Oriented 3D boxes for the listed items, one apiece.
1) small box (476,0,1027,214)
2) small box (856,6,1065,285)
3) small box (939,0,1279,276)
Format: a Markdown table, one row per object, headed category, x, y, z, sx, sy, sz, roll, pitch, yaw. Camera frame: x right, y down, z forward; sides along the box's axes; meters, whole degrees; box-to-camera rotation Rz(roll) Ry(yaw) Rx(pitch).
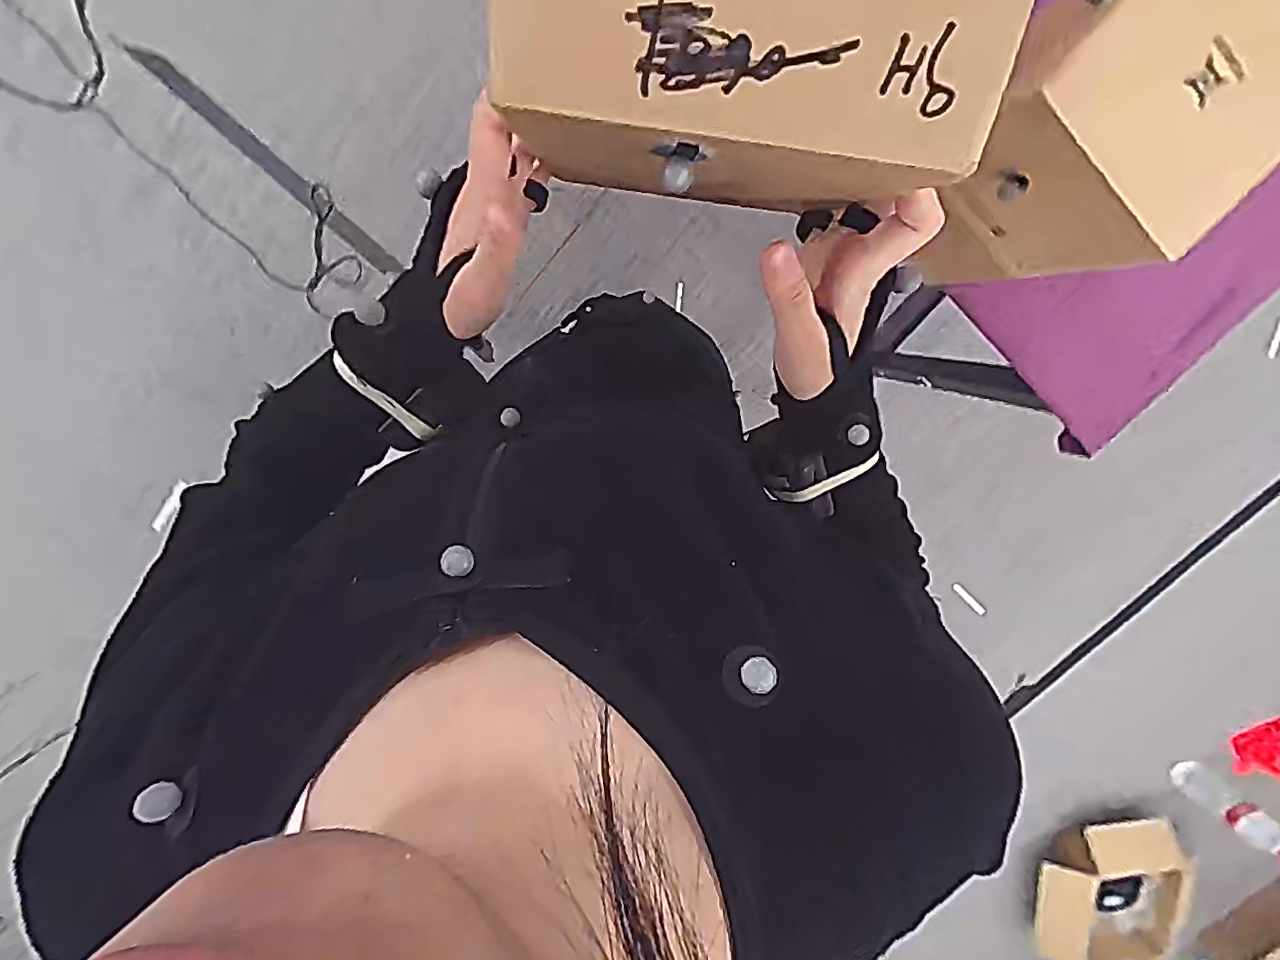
| category | x | y | z | sx | sy | sz | roll | pitch | yaw |
| --- | --- | --- | --- | --- | --- | --- | --- | --- | --- |
| small box | 0.036 | -0.220 | 0.217 | 0.168 | 0.176 | 0.179 | 5 | 111 | -4 |
| small box | 0.378 | -0.340 | 0.596 | 0.168 | 0.176 | 0.179 | 41 | 102 | -12 |
| small box | 0.382 | -0.291 | 0.440 | 0.168 | 0.176 | 0.179 | 41 | 100 | -12 |
